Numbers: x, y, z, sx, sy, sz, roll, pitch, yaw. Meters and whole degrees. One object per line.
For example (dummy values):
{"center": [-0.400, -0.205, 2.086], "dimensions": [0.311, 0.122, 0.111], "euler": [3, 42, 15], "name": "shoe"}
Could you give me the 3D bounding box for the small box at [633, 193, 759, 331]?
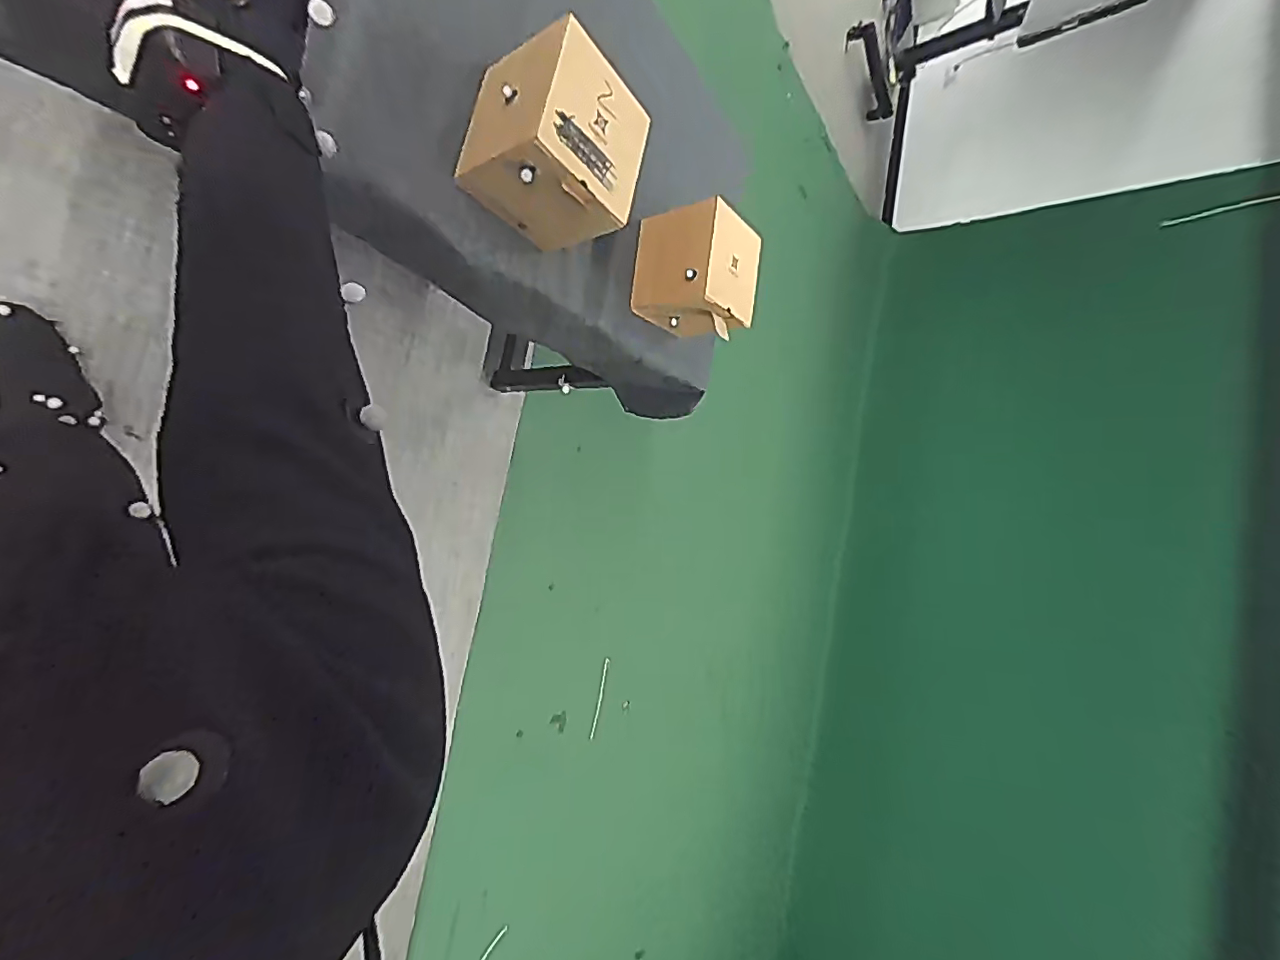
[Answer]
{"center": [0.104, -0.394, 1.011], "dimensions": [0.168, 0.176, 0.179], "euler": [10, 88, -51], "name": "small box"}
